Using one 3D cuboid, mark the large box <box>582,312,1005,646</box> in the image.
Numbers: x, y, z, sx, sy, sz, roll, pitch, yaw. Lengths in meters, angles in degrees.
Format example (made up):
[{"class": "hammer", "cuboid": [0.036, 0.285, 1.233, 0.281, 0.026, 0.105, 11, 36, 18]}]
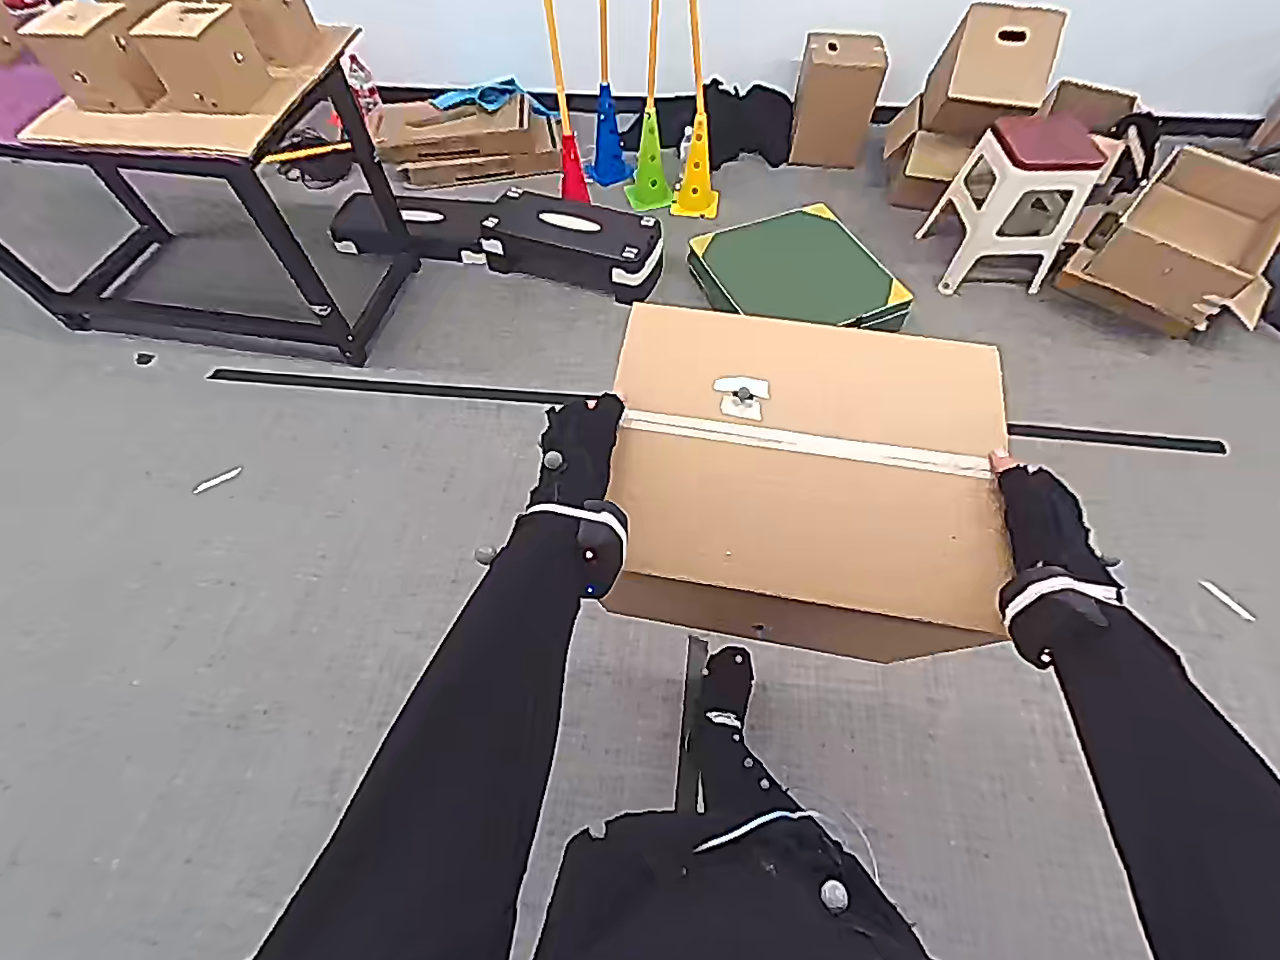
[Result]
[{"class": "large box", "cuboid": [0.173, 0.019, 0.705, 0.408, 0.320, 0.320, 8, 67, 7]}]
